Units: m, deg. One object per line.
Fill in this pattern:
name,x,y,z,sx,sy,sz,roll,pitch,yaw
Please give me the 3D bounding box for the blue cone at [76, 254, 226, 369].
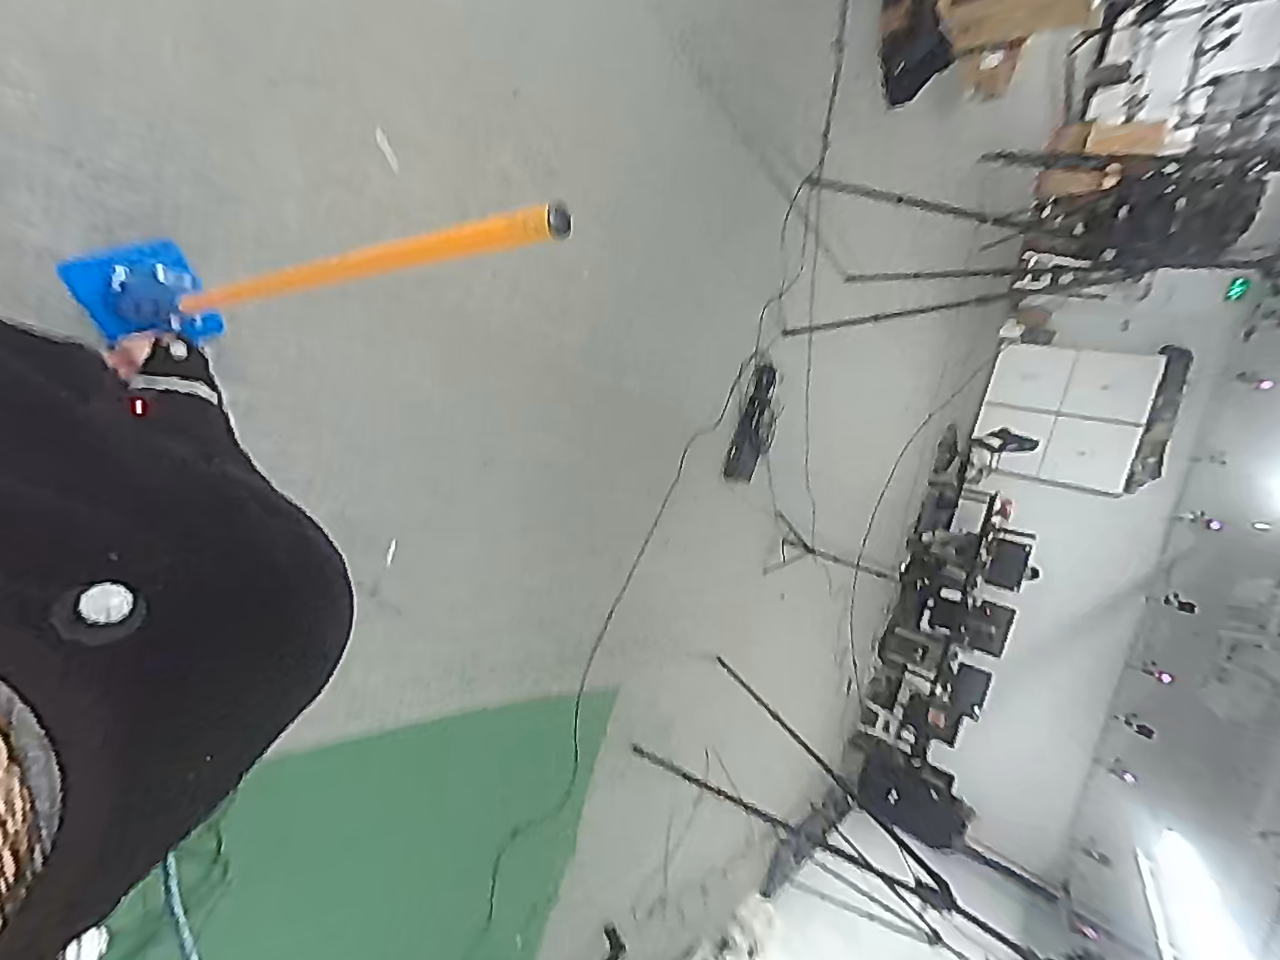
blue cone,-0.862,-0.311,1.001,0.193,0.380,0.192,-42,132,-35
